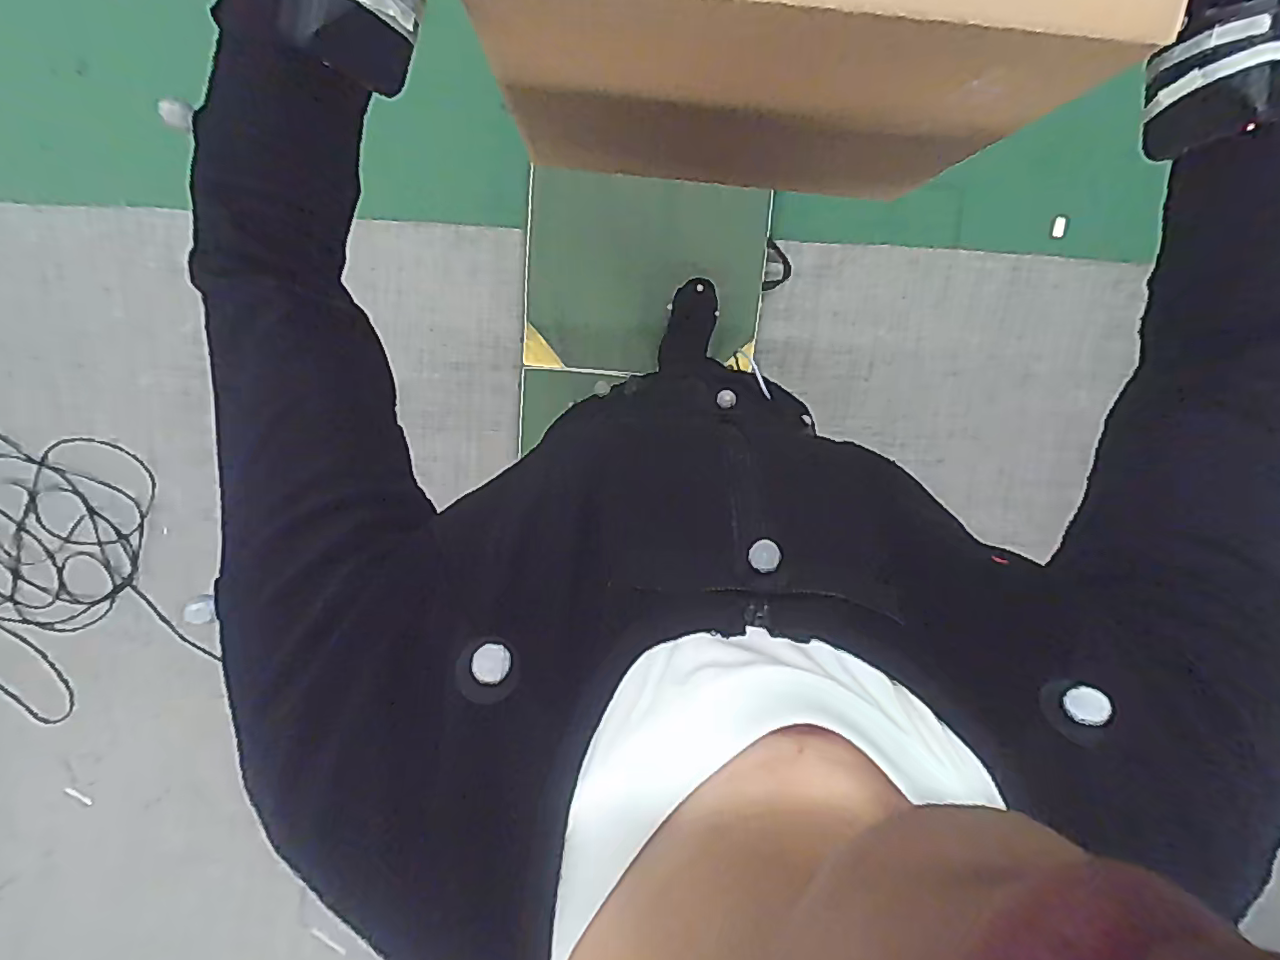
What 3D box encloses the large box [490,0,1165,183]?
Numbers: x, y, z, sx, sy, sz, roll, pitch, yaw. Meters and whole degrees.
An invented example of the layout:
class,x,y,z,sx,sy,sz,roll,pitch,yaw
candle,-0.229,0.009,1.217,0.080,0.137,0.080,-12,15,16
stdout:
class,x,y,z,sx,sy,sz,roll,pitch,yaw
large box,0.103,-0.451,0.413,0.408,0.320,0.320,3,103,-5
